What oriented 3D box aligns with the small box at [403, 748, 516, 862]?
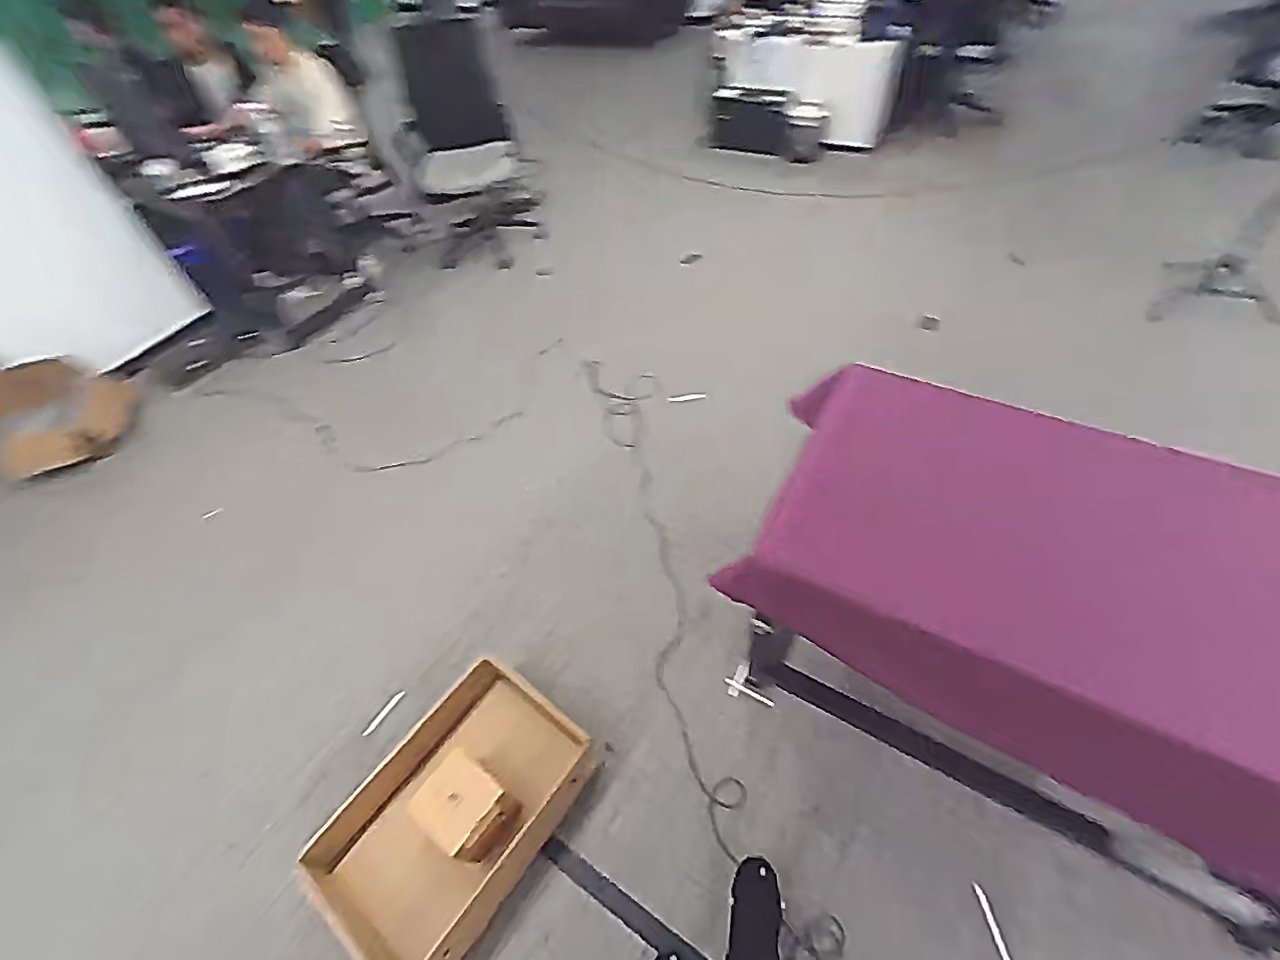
[{"bbox_3d":[-0.432,0.799,1.322,0.179,0.176,0.168,28,59,26],"label":"small box"}]
